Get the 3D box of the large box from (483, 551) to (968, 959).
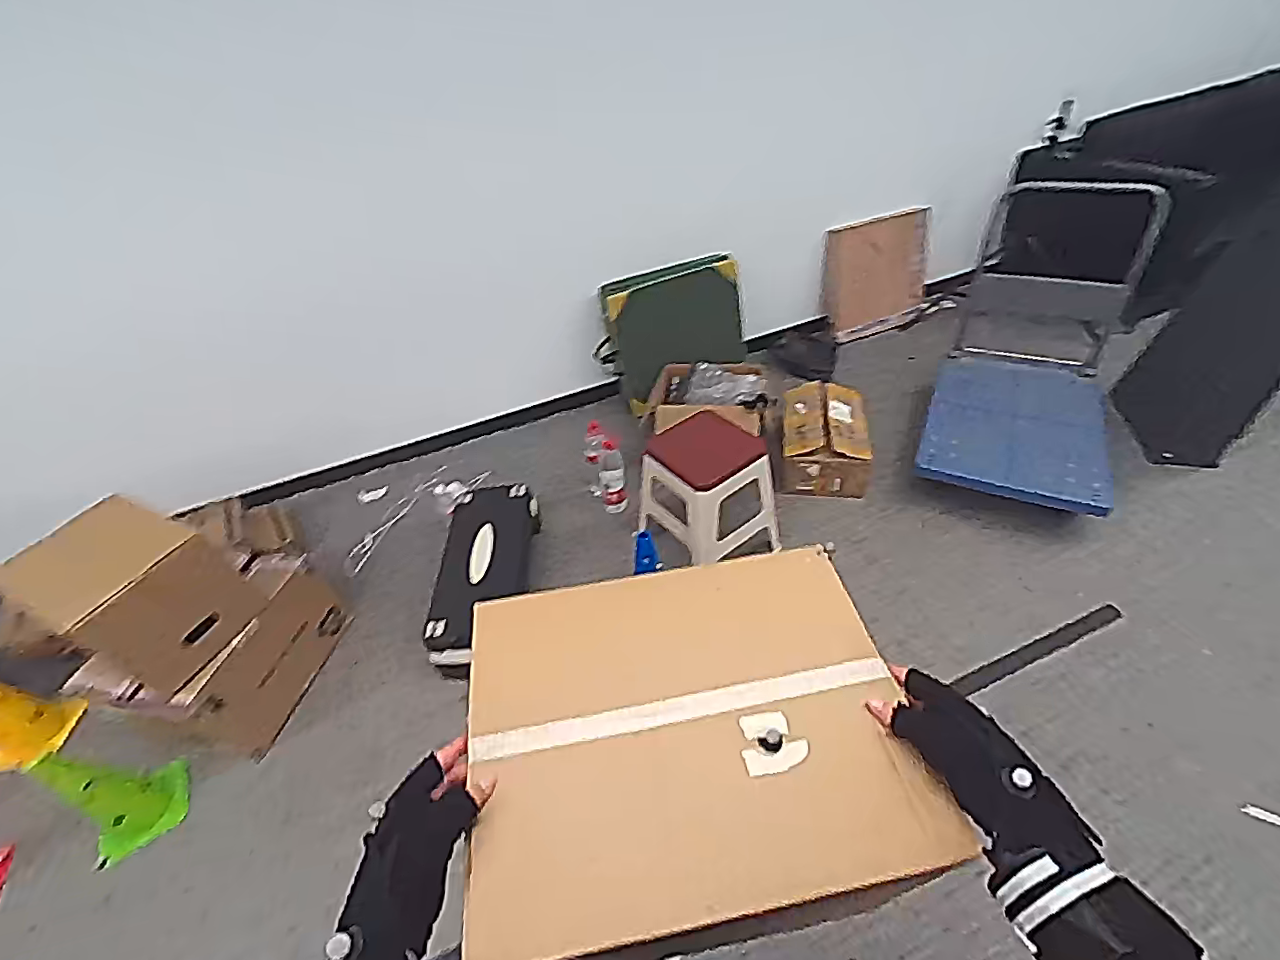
[{"bbox_3d":[0.053,0.325,0.626,0.408,0.320,0.320,-8,46,-6],"label":"large box"}]
